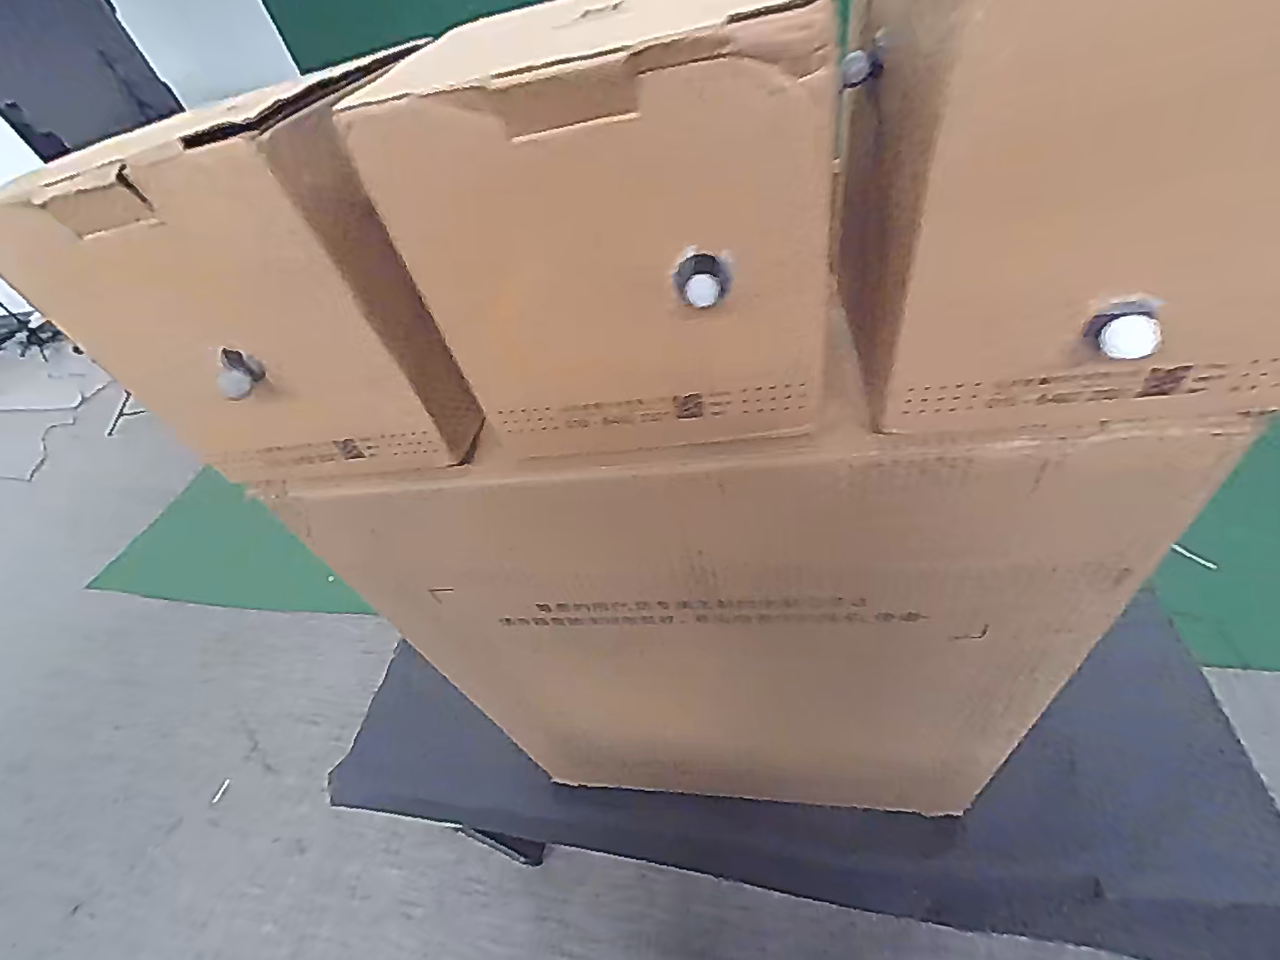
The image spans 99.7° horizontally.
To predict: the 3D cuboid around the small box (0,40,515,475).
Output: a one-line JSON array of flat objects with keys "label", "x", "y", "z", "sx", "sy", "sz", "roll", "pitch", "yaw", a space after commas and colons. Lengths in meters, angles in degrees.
[{"label": "small box", "x": -0.194, "y": -0.115, "z": 0.317, "sx": 0.168, "sy": 0.176, "sz": 0.179, "roll": -4, "pitch": 47, "yaw": 15}]
